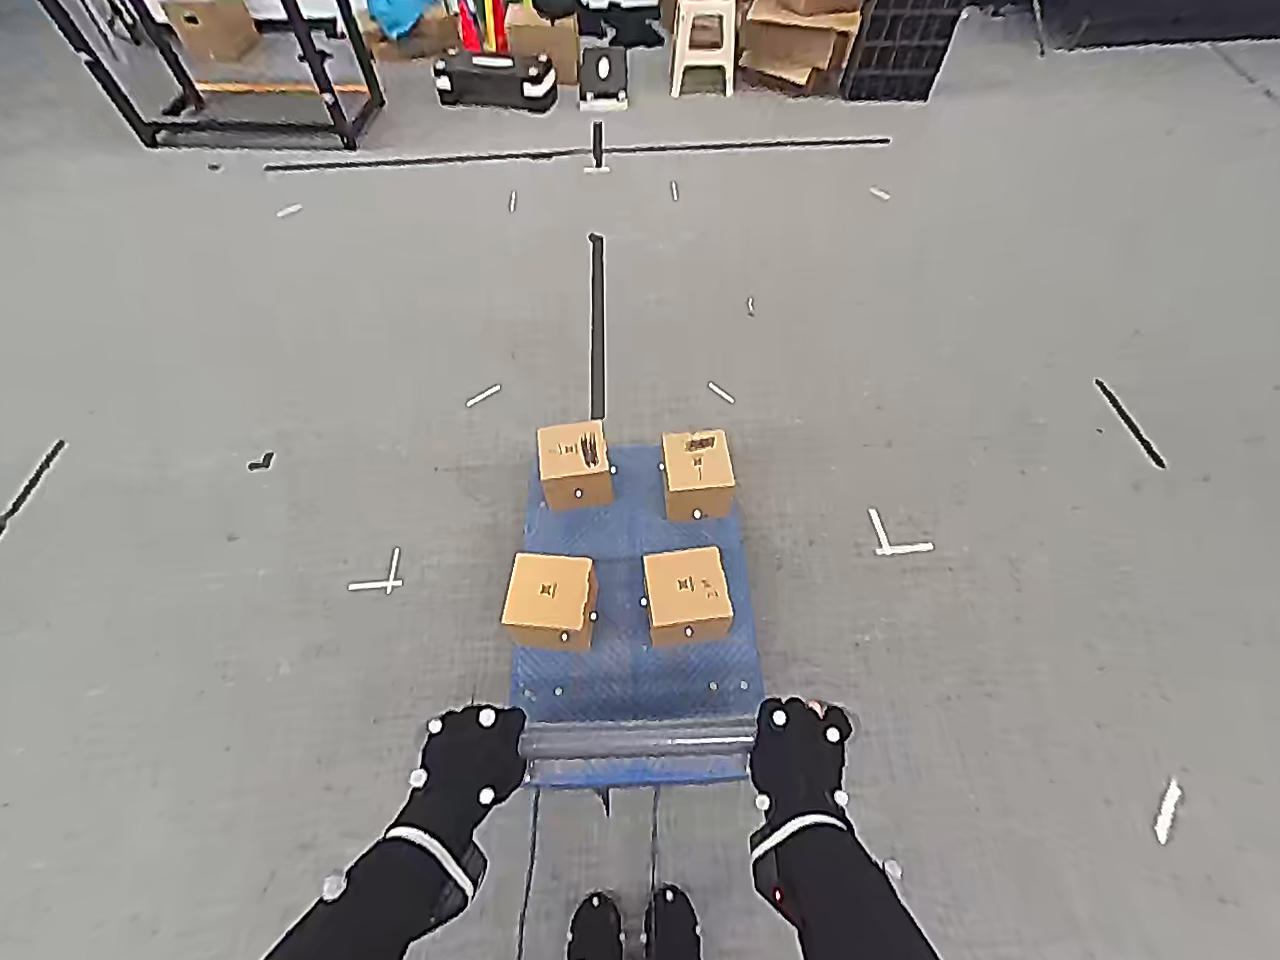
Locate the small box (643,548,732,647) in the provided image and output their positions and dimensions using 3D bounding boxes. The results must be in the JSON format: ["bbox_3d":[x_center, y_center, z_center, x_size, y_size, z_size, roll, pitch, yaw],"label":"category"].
[{"bbox_3d":[0.104,0.275,1.248,0.179,0.176,0.168,-7,57,-3],"label":"small box"}]

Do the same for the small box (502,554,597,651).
[{"bbox_3d":[-0.200,0.285,1.247,0.179,0.176,0.168,4,56,2],"label":"small box"}]

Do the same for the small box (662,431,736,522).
[{"bbox_3d":[0.149,-0.007,1.430,0.168,0.176,0.179,-4,58,-1],"label":"small box"}]
